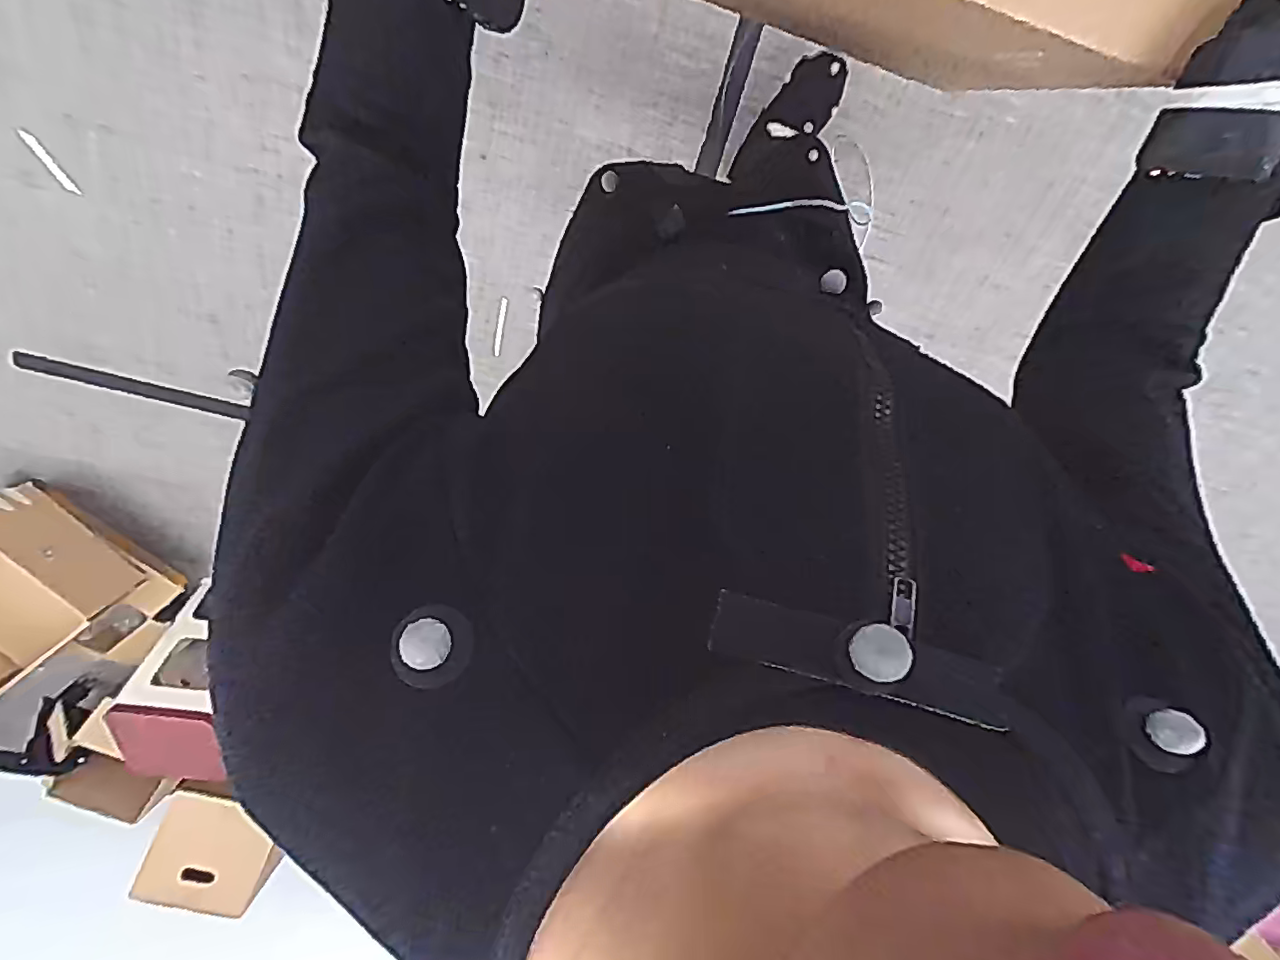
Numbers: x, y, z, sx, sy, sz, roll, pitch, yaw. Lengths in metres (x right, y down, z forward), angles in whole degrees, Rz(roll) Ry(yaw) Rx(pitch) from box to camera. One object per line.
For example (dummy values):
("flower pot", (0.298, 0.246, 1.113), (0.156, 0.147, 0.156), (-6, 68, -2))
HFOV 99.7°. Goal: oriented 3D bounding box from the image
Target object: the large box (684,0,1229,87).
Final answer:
("large box", (0.164, -0.484, 0.331), (0.408, 0.320, 0.320), (12, 125, -9))
